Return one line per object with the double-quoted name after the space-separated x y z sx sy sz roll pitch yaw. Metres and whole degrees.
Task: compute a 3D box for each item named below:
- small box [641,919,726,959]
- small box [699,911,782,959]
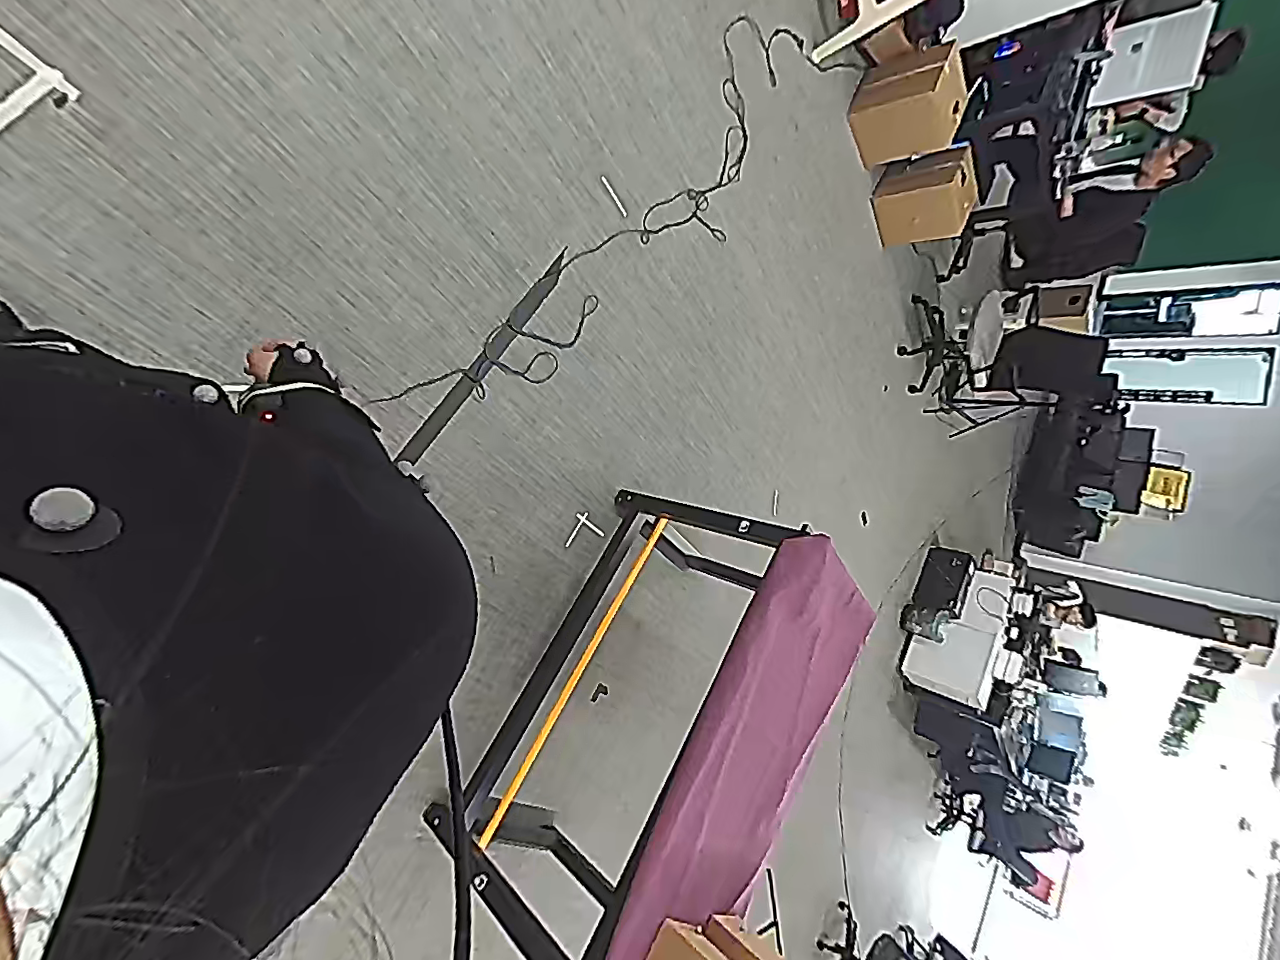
0.095 1.118 1.190 0.179 0.176 0.168 -55 133 -22 "small box"
0.228 1.232 1.349 0.168 0.176 0.179 46 66 -40 "small box"
